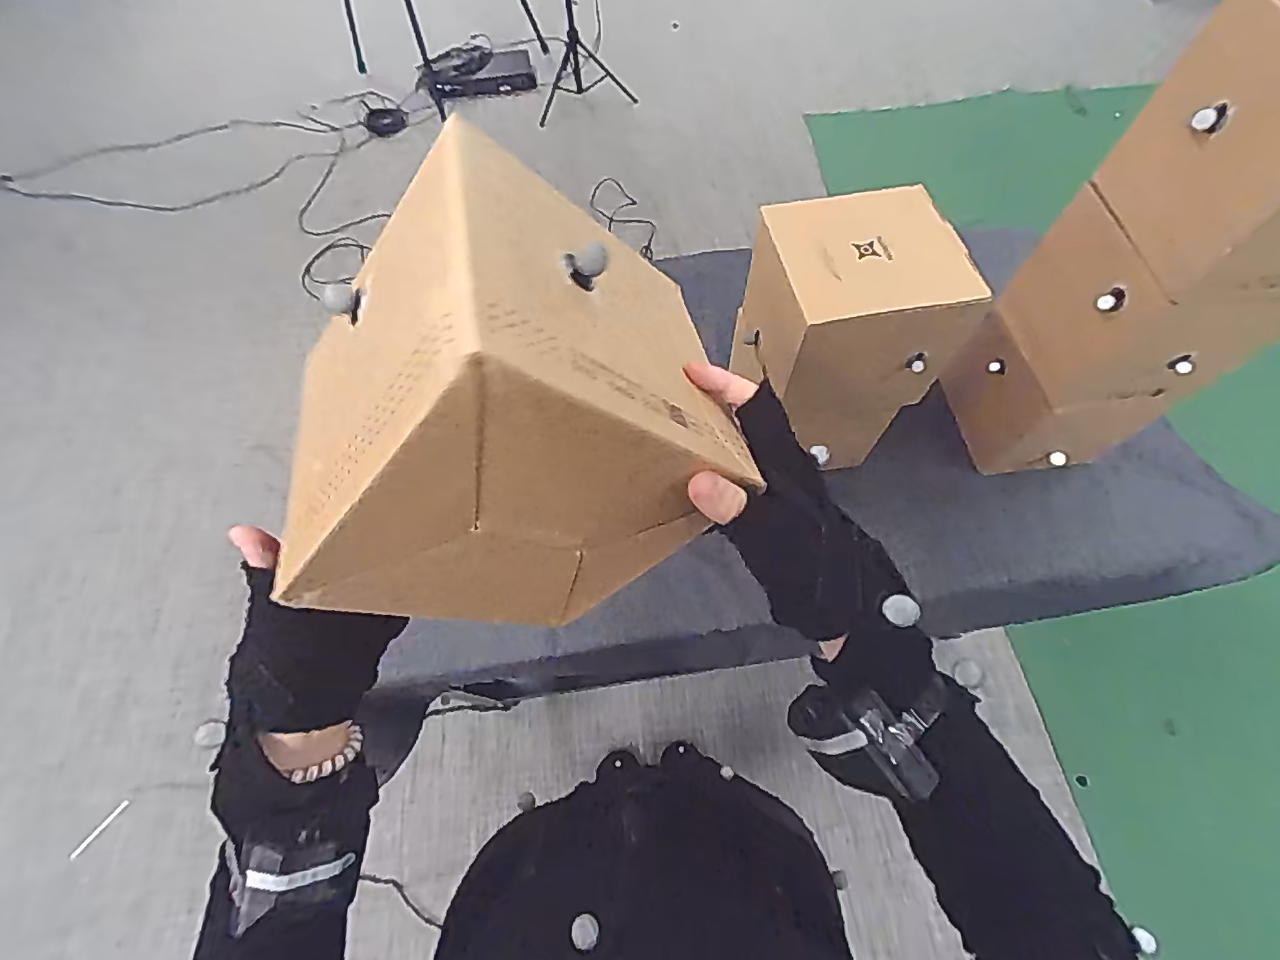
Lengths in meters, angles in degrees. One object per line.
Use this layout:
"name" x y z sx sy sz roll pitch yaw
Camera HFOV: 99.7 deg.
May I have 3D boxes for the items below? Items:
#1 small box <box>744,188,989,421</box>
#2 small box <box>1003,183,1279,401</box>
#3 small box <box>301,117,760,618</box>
"small box" 0.226 -0.184 0.597 0.179 0.176 0.168 -9 63 -2
"small box" 0.547 -0.199 0.590 0.168 0.176 0.179 -5 63 0
"small box" -0.063 -0.038 0.301 0.179 0.168 0.176 -38 53 27
